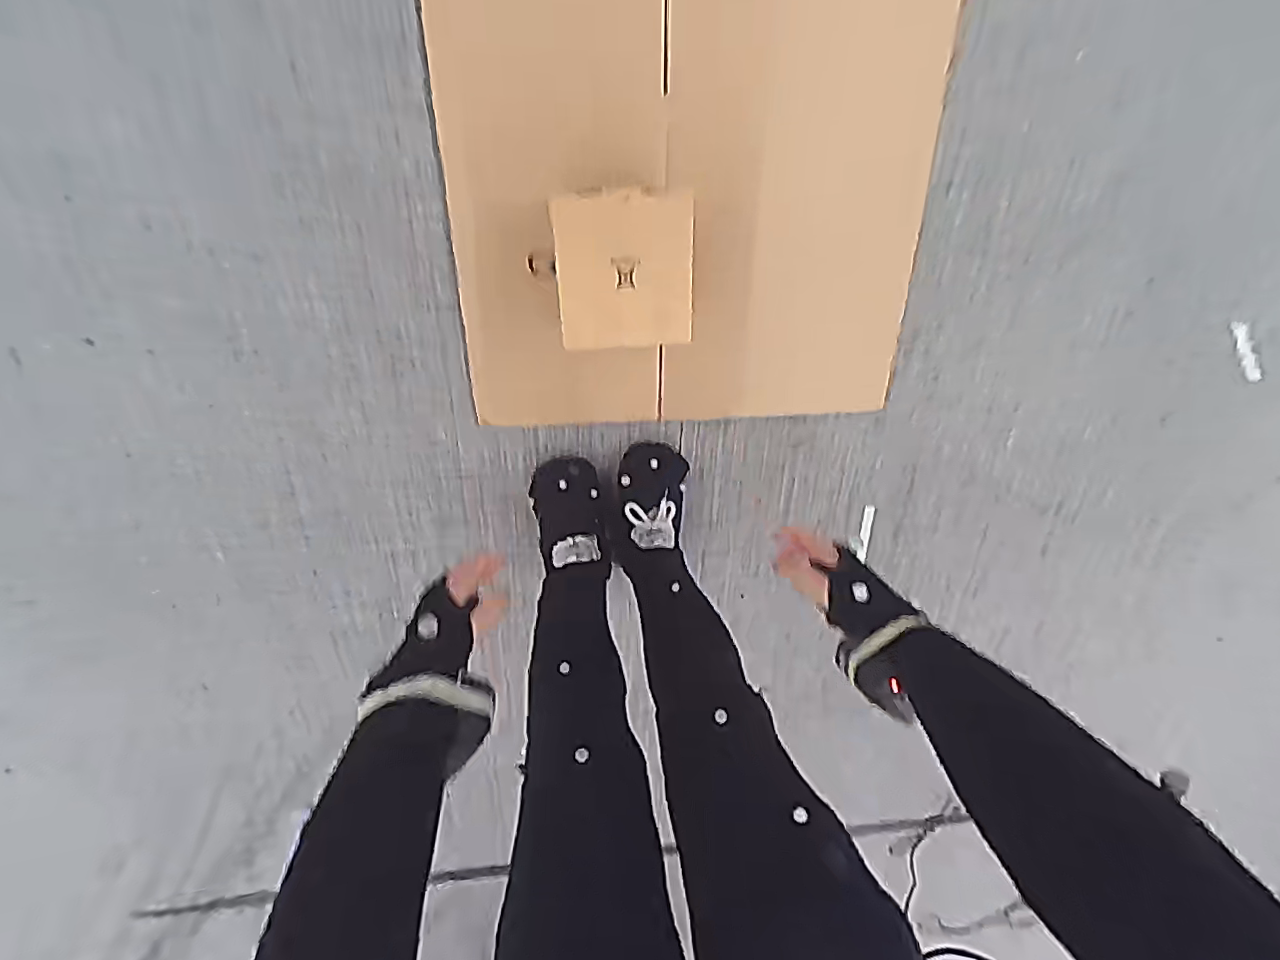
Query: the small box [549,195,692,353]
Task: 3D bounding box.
[{"bbox_3d":[-0.029,-0.277,0.720,0.168,0.176,0.179,-5,115,-6],"label":"small box"}]
